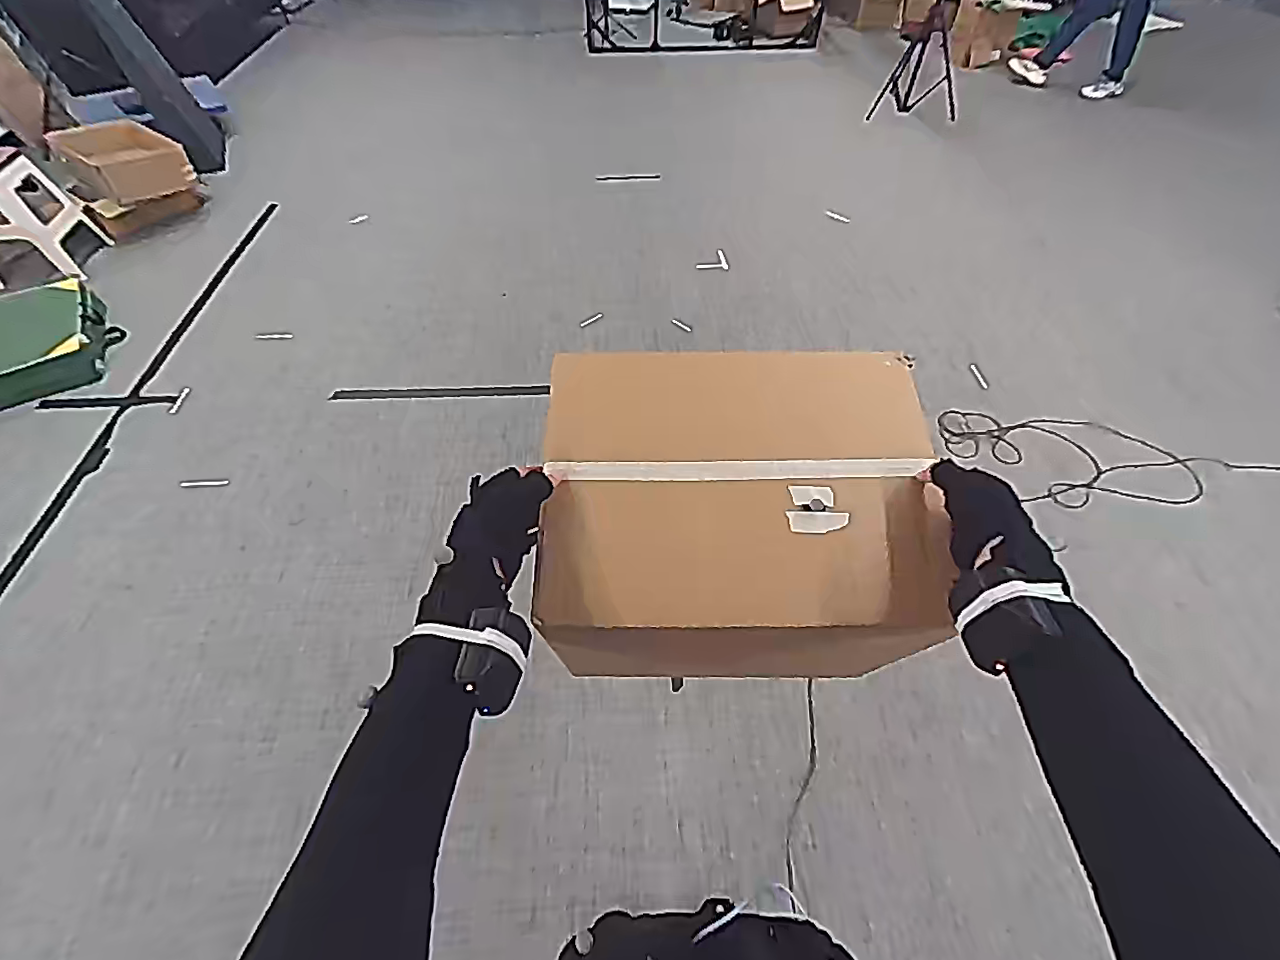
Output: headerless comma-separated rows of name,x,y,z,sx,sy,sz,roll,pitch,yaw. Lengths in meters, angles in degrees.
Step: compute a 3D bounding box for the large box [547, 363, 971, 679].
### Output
large box,0.107,0.069,0.698,0.408,0.320,0.320,0,63,0
